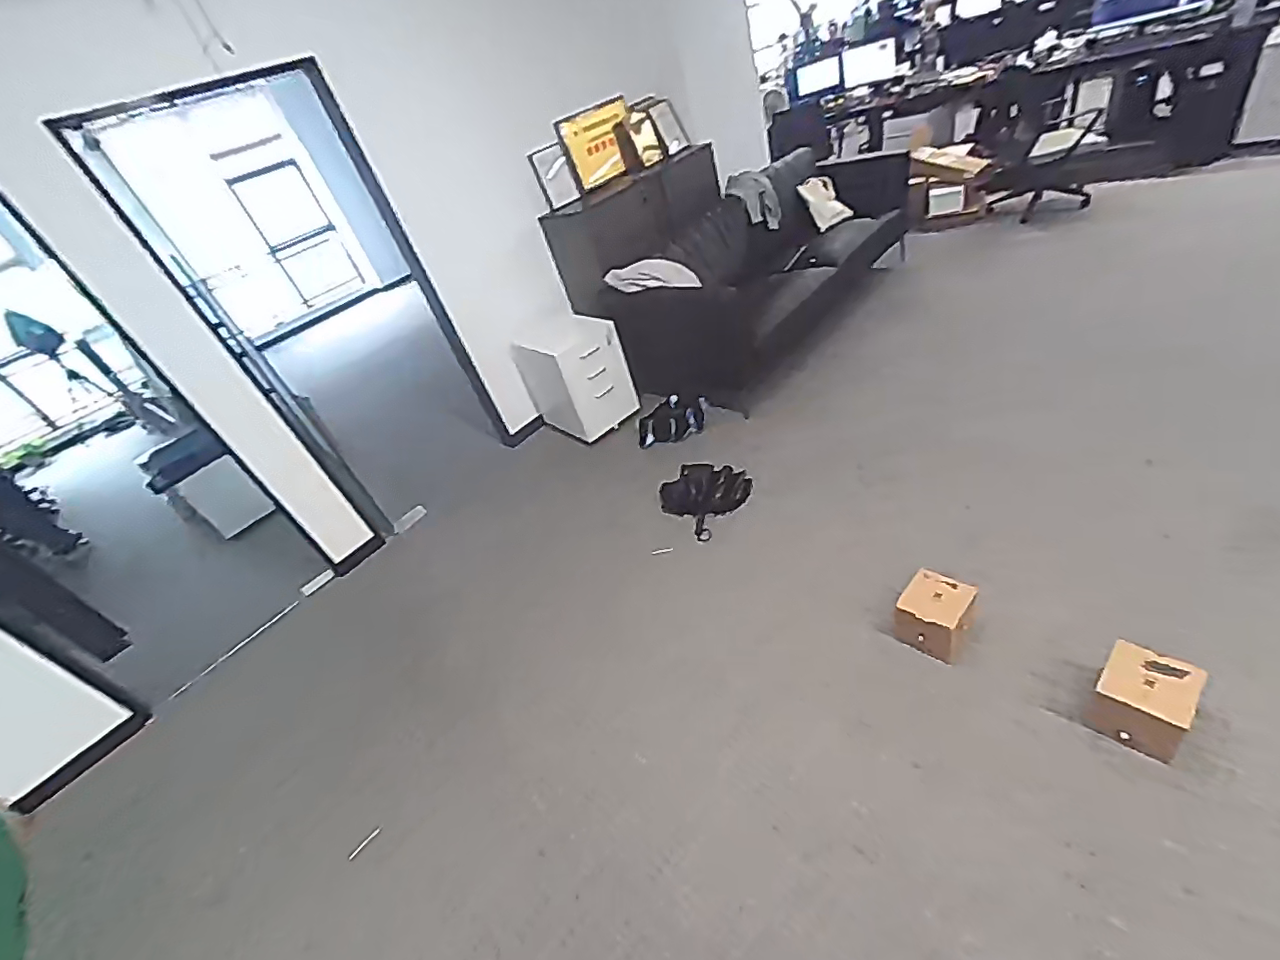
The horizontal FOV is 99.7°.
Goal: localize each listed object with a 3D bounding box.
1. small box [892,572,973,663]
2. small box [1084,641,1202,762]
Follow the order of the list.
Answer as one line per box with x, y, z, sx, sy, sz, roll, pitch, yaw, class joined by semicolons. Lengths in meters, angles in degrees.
0.893;0.422;1.648;0.179;0.176;0.168;-40;39;-26;small box
1.217;0.539;1.320;0.179;0.176;0.168;-41;39;-25;small box
